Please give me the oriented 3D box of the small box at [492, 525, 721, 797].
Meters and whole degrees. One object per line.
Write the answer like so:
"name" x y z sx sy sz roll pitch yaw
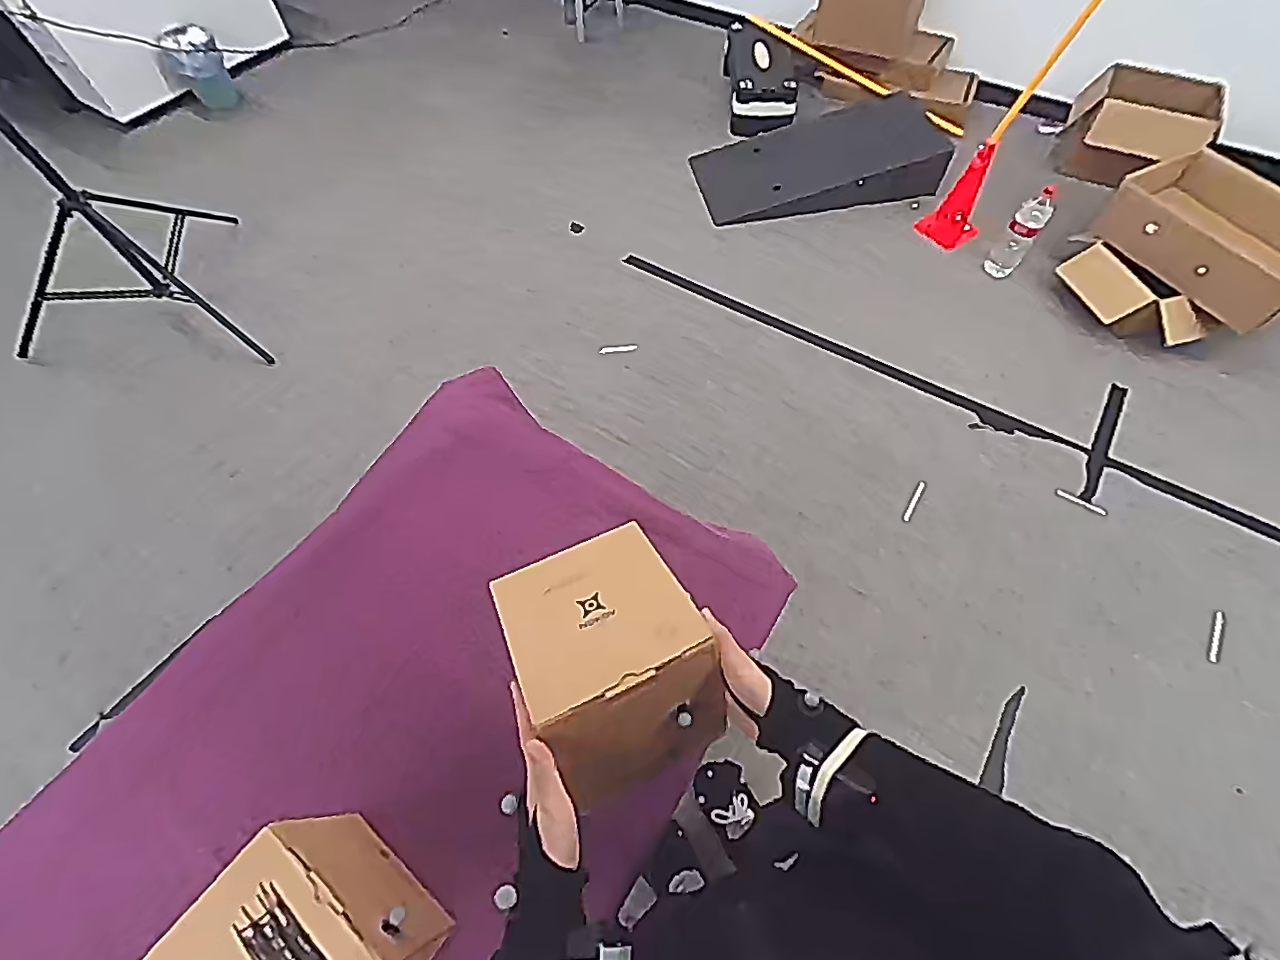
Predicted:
"small box" -0.030 0.182 0.545 0.168 0.176 0.179 -21 38 -15
